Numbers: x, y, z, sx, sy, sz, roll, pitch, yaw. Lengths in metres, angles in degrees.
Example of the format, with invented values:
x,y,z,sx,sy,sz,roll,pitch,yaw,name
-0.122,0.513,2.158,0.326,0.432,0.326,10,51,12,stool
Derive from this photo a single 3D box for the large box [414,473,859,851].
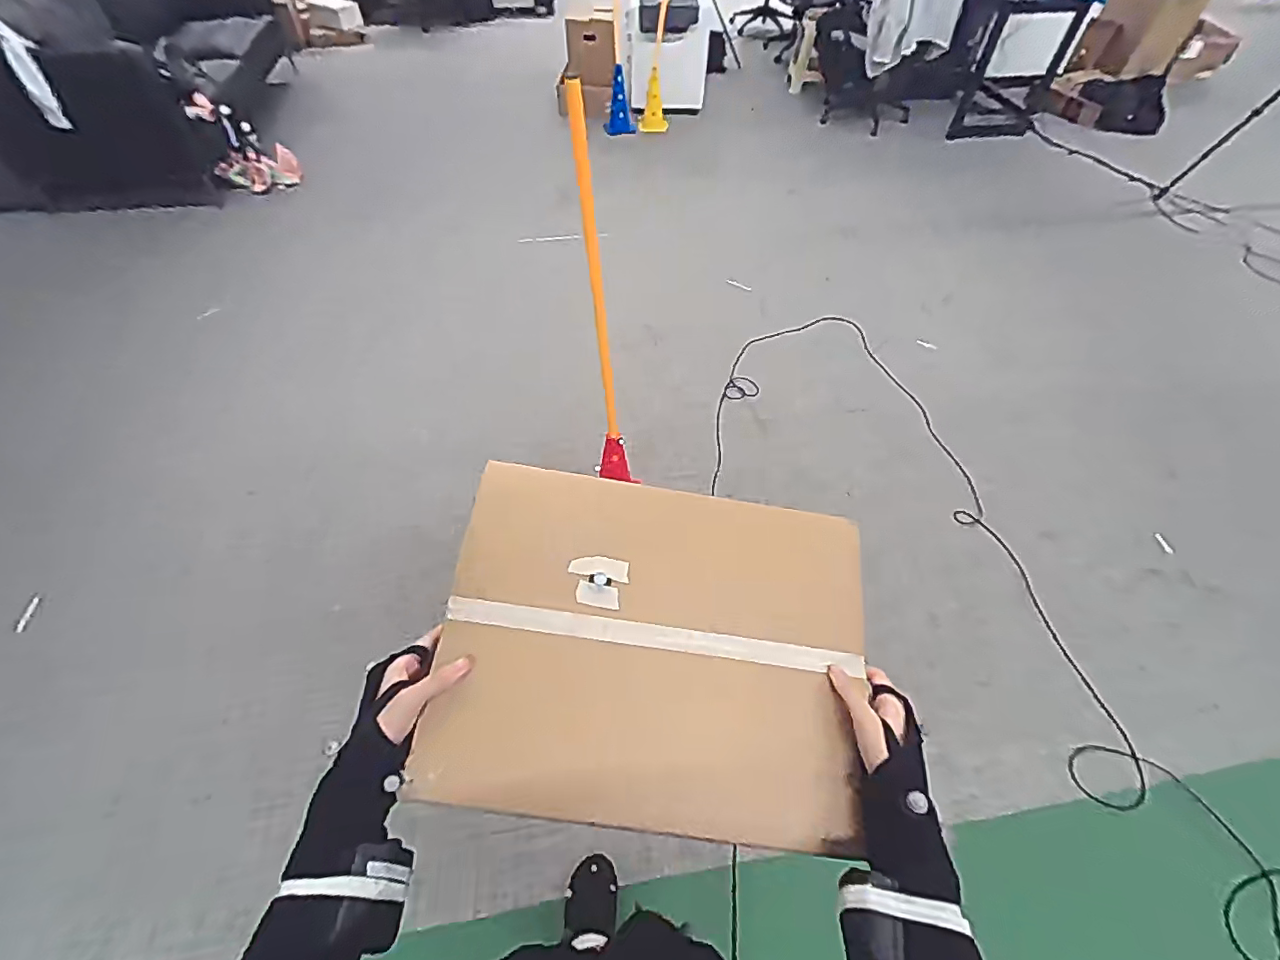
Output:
x,y,z,sx,sy,sz,roll,pitch,yaw,name
0.007,0.217,0.667,0.408,0.320,0.320,10,66,-2,large box
